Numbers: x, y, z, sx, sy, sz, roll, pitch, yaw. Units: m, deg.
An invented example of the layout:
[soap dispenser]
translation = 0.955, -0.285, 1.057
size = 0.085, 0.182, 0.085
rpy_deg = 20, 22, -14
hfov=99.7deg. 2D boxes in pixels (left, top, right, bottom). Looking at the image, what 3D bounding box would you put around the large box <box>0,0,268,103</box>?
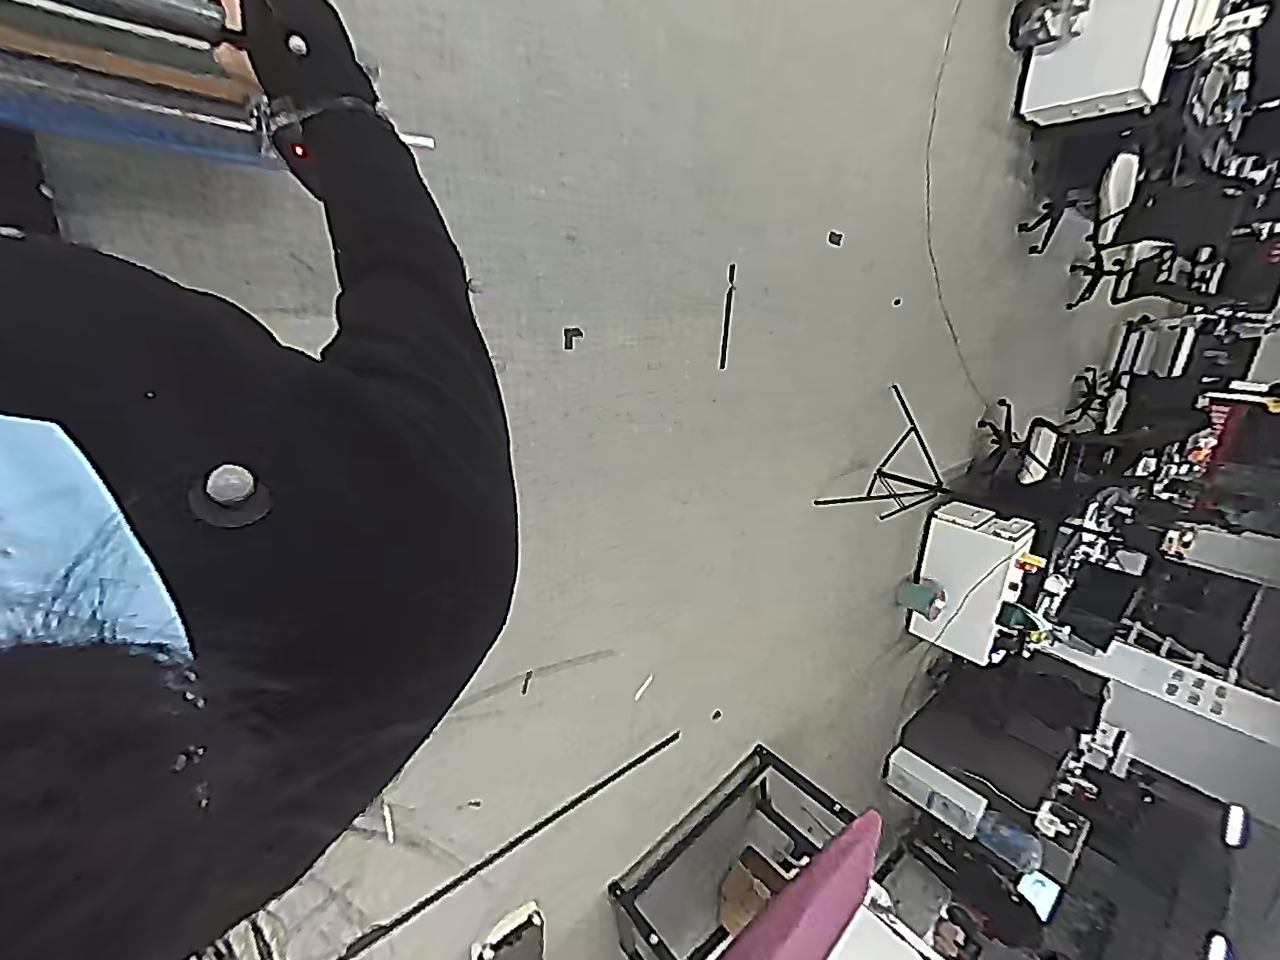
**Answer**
[large box]
translation = -0.751, -0.735, 0.676
size = 0.408, 0.320, 0.320
rpy_deg = -12, 113, -40
